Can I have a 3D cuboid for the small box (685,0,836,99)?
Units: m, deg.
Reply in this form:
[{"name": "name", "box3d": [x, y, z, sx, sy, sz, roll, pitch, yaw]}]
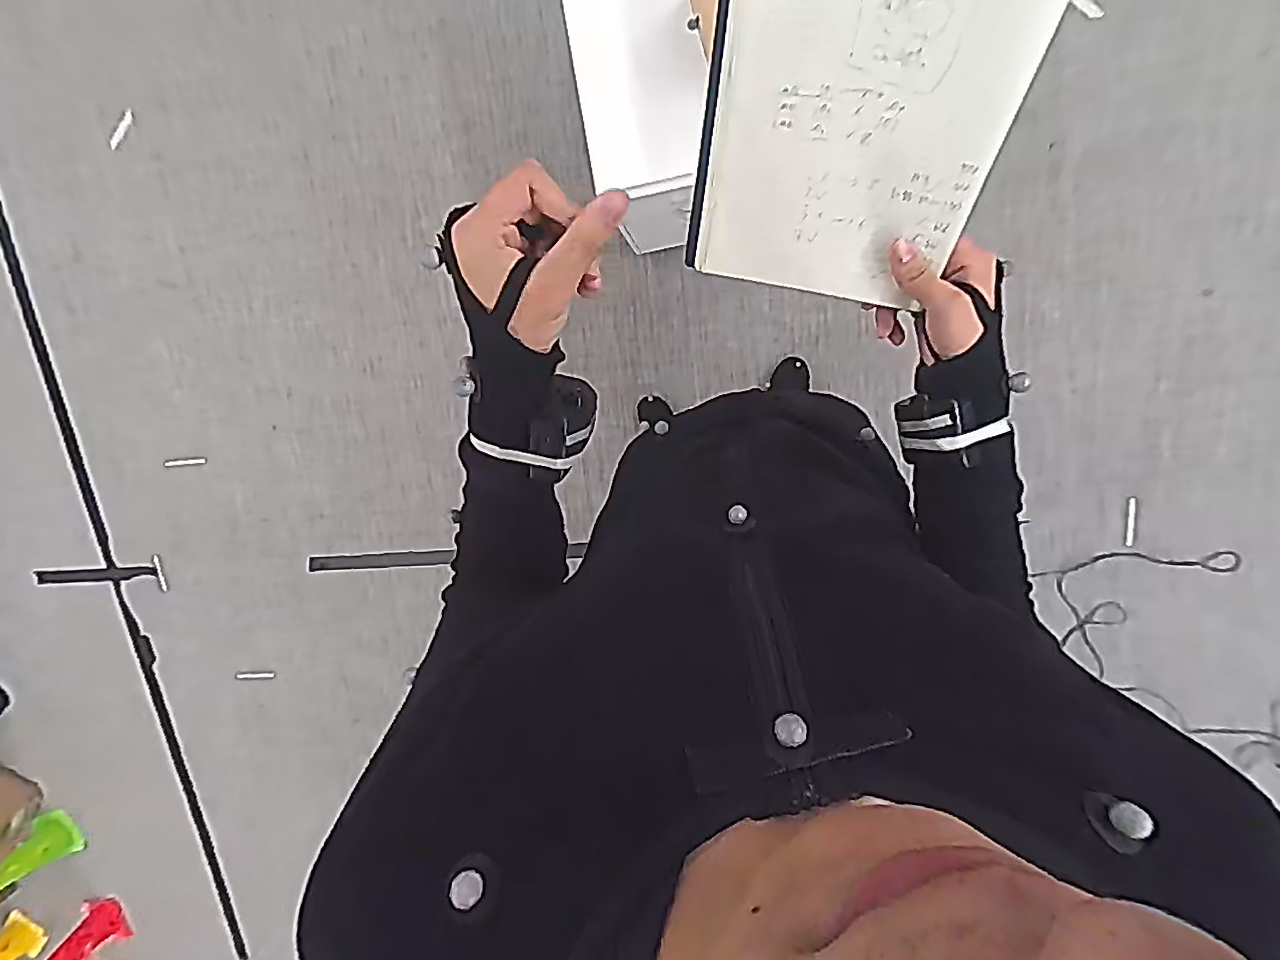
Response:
[{"name": "small box", "box3d": [0.165, -0.708, 0.789, 0.179, 0.176, 0.168, -17, 99, 11]}]
